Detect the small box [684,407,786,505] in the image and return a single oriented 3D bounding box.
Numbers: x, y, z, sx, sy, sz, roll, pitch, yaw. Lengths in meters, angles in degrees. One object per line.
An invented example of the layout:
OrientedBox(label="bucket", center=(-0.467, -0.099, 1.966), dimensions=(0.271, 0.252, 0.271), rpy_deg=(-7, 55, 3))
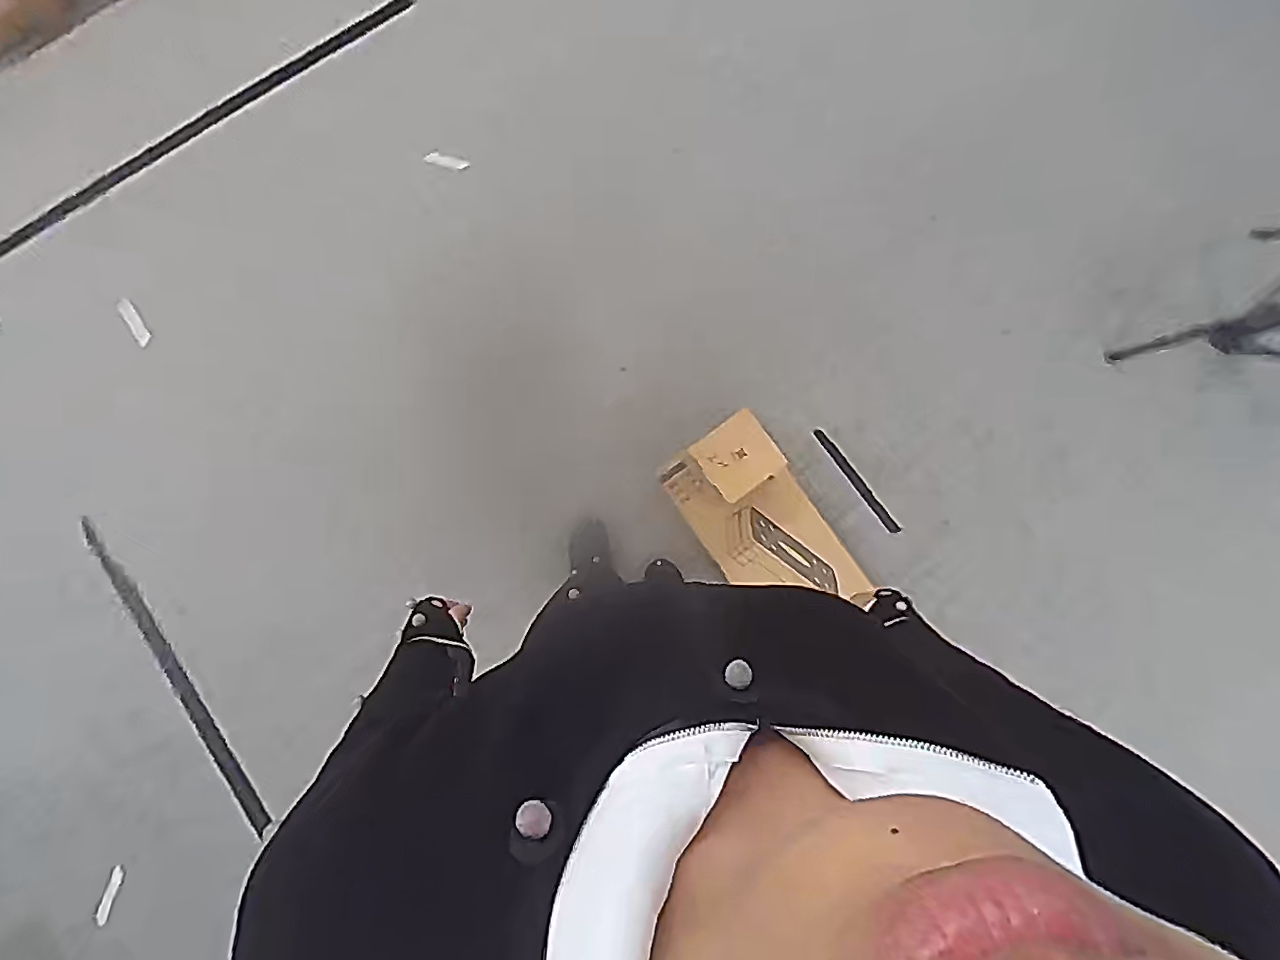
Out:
OrientedBox(label="small box", center=(0.226, -0.053, 1.339), dimensions=(0.179, 0.176, 0.168), rpy_deg=(-35, 86, -4))
